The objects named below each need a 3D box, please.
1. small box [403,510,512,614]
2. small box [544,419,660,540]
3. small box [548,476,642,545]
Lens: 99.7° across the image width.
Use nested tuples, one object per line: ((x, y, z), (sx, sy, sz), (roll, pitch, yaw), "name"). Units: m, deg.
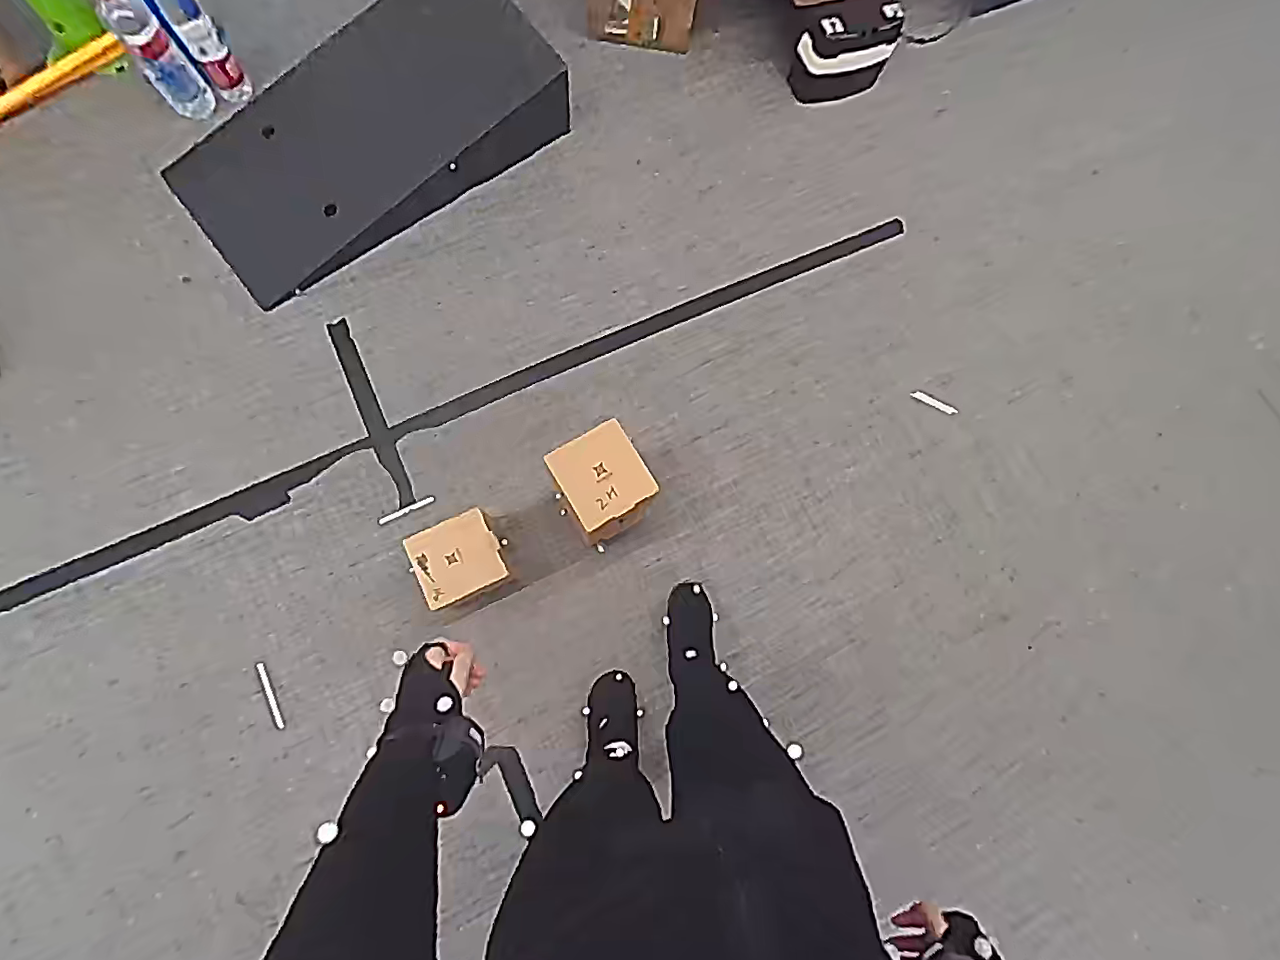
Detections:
((-0.396, 0.184, 1.210), (0.179, 0.176, 0.168), (-24, 81, -11), "small box")
((-0.082, 0.007, 1.110), (0.168, 0.176, 0.179), (-30, 83, -11), "small box")
((-0.098, 0.042, 1.270), (0.168, 0.176, 0.179), (-31, 82, -11), "small box")
